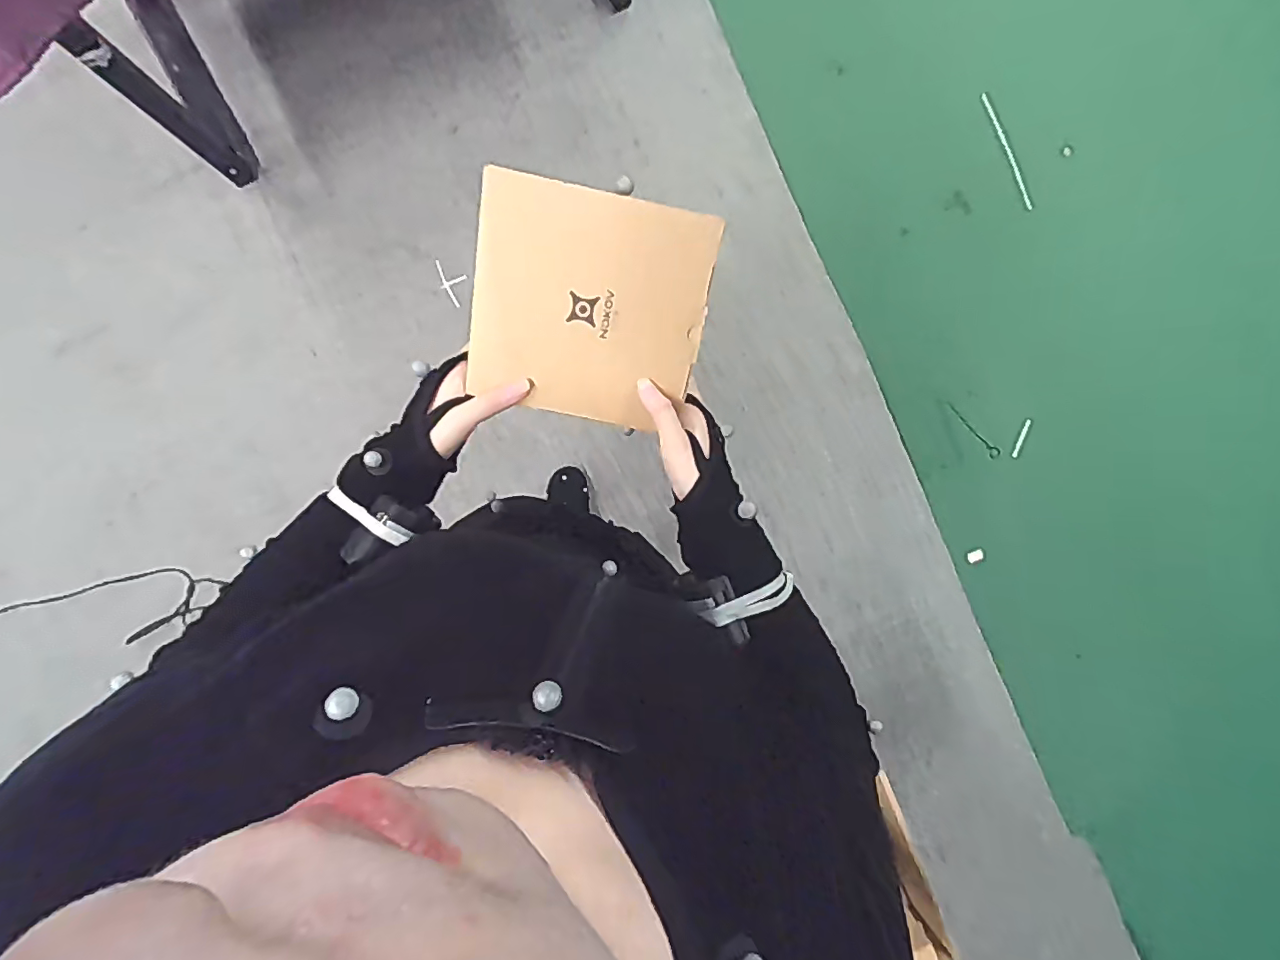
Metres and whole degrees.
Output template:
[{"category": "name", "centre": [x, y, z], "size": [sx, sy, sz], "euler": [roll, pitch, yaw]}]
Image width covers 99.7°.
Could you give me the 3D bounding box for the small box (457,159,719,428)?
[{"category": "small box", "centre": [-0.043, -0.160, 0.482], "size": [0.179, 0.176, 0.168], "euler": [11, 111, -4]}]
